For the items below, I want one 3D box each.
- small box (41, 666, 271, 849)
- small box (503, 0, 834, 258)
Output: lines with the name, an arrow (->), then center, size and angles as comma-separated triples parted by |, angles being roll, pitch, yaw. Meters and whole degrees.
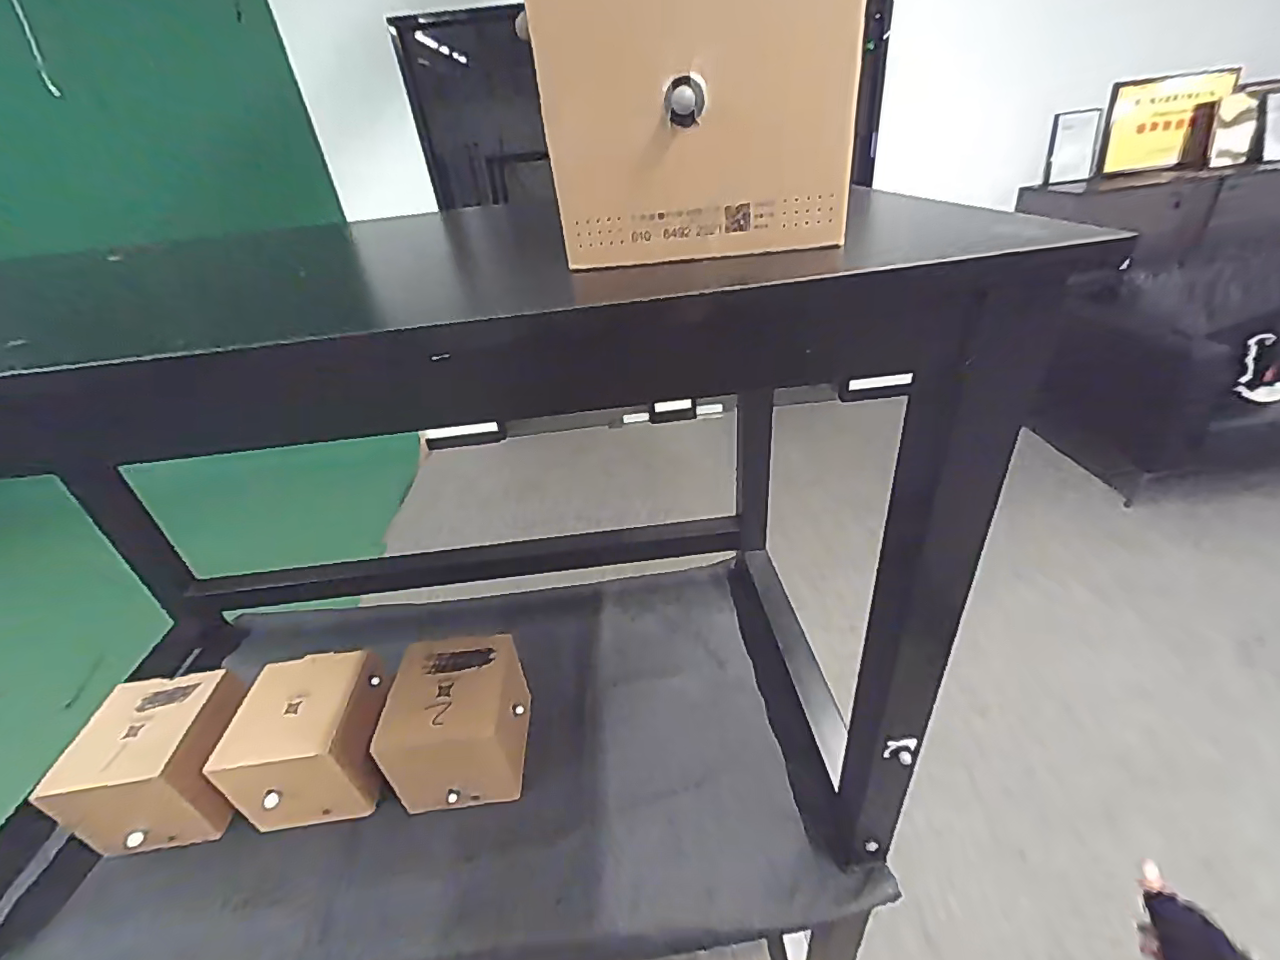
small box -> -0.703, 0.416, 0.818 | 0.168, 0.176, 0.179 | -8, 33, -2
small box -> 0.028, -0.247, 0.351 | 0.168, 0.176, 0.179 | -1, 32, 9
